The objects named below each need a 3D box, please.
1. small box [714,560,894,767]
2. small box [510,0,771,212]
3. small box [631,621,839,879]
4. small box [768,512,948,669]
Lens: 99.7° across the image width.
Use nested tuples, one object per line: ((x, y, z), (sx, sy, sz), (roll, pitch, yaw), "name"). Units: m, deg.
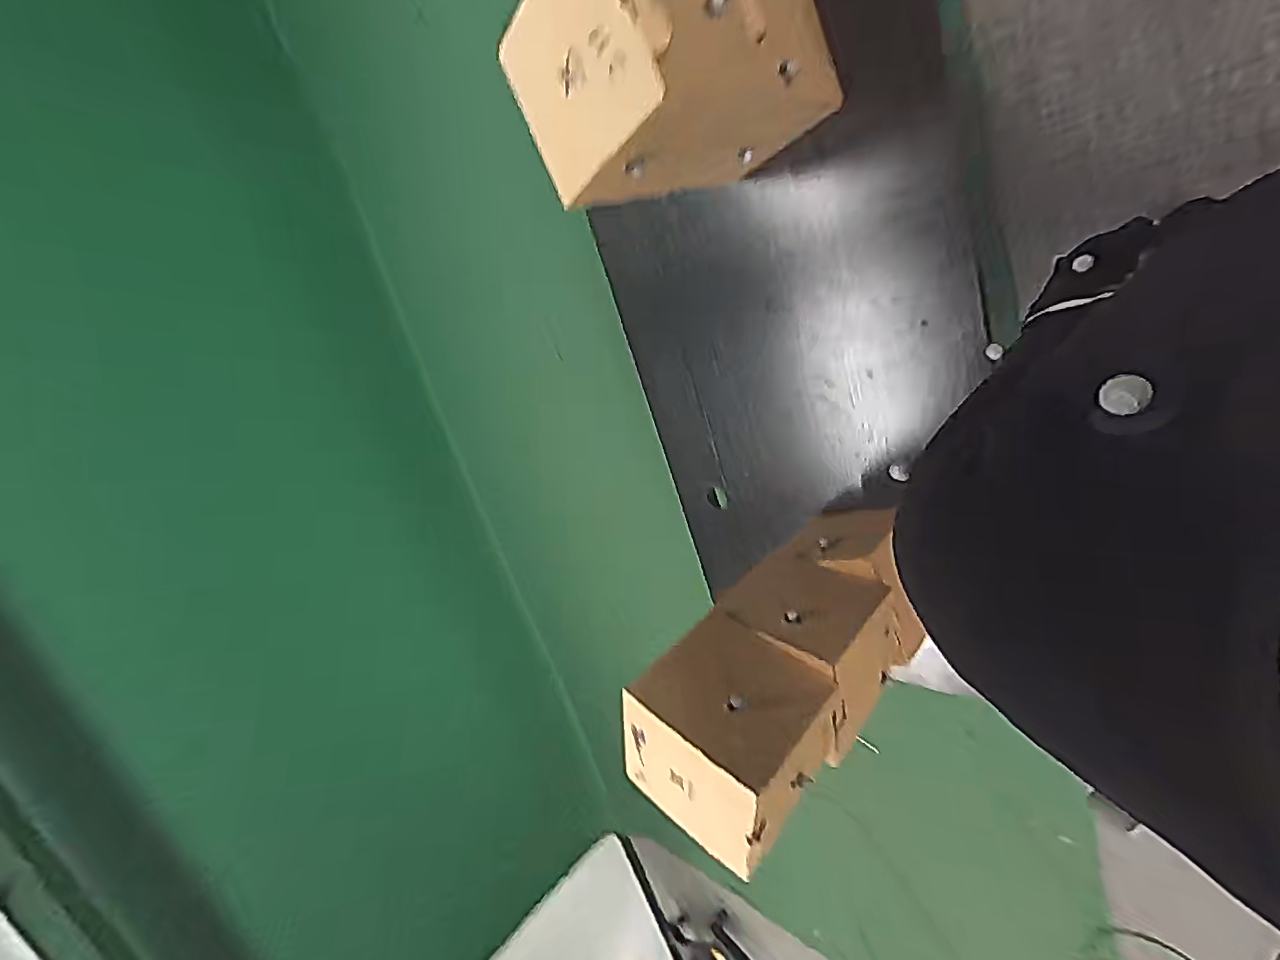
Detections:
((0.225, 0.230, 0.729), (0.179, 0.176, 0.168), (14, 122, 43), "small box")
((0.001, -0.407, 0.562), (0.179, 0.176, 0.168), (-14, 103, 51), "small box")
((0.110, 0.297, 0.633), (0.179, 0.176, 0.168), (24, 128, 35), "small box")
((0.336, 0.162, 0.830), (0.179, 0.176, 0.168), (-16, 101, 50), "small box")
